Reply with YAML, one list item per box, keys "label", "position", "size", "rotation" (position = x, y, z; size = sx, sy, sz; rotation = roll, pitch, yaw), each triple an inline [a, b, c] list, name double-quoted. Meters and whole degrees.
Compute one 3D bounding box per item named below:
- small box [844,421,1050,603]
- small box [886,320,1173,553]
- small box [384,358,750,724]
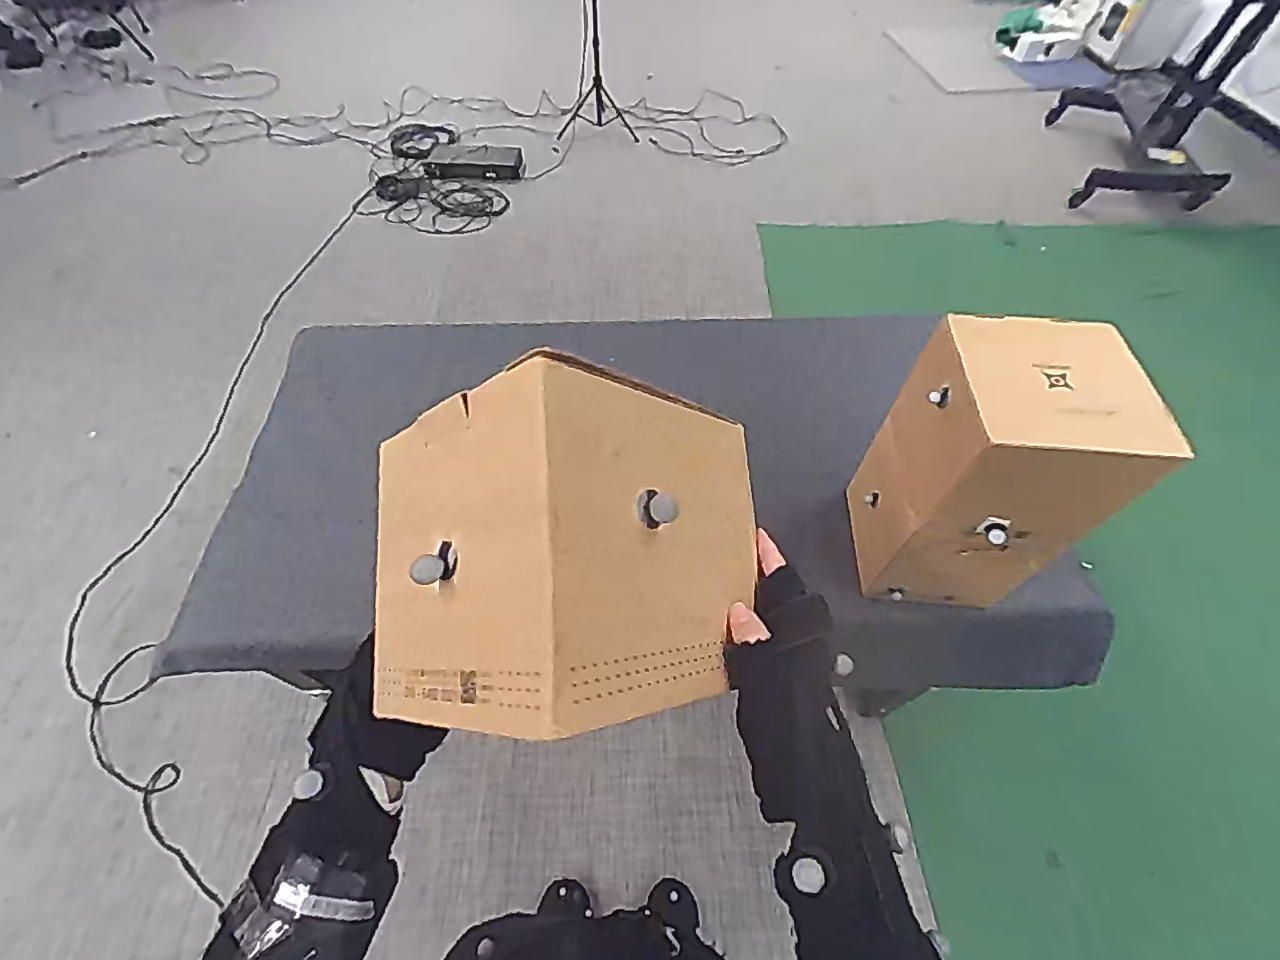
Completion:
- label: "small box"
  position: [0.383, 0.046, 0.711]
  size: [0.168, 0.176, 0.179]
  rotation: [5, 54, 3]
- label: "small box"
  position: [0.382, -0.044, 0.577]
  size: [0.168, 0.176, 0.179]
  rotation: [5, 56, 4]
- label: "small box"
  position: [-0.042, 0.046, 0.348]
  size: [0.168, 0.179, 0.176]
  rotation: [-13, 76, 39]
